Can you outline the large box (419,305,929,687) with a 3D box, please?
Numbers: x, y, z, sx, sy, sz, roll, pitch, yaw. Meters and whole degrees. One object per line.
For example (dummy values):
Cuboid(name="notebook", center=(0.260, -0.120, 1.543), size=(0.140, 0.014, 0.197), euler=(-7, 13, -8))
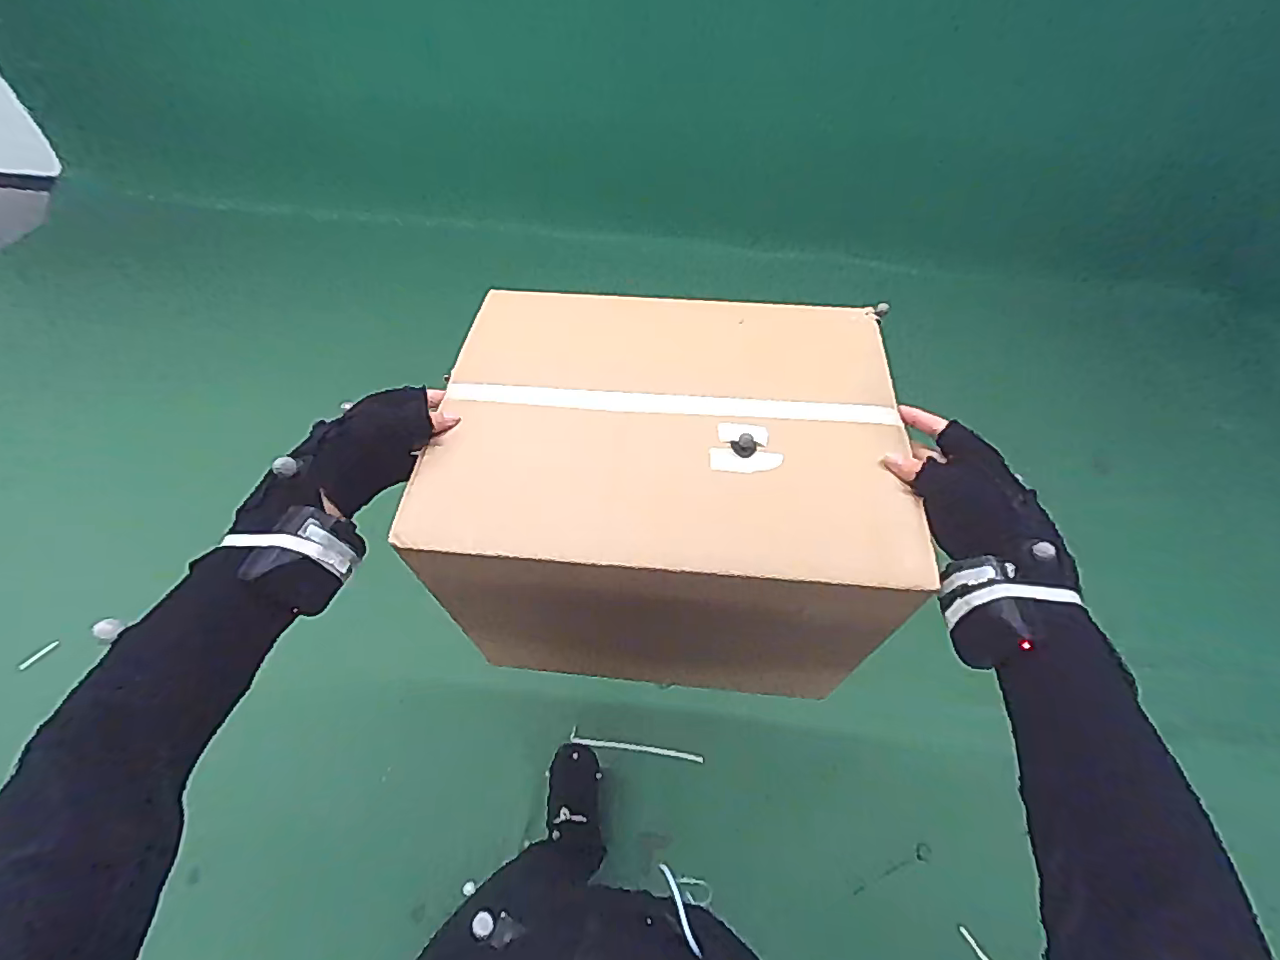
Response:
Cuboid(name="large box", center=(0.032, 0.028, 0.620), size=(0.408, 0.320, 0.320), euler=(4, 55, 3))
